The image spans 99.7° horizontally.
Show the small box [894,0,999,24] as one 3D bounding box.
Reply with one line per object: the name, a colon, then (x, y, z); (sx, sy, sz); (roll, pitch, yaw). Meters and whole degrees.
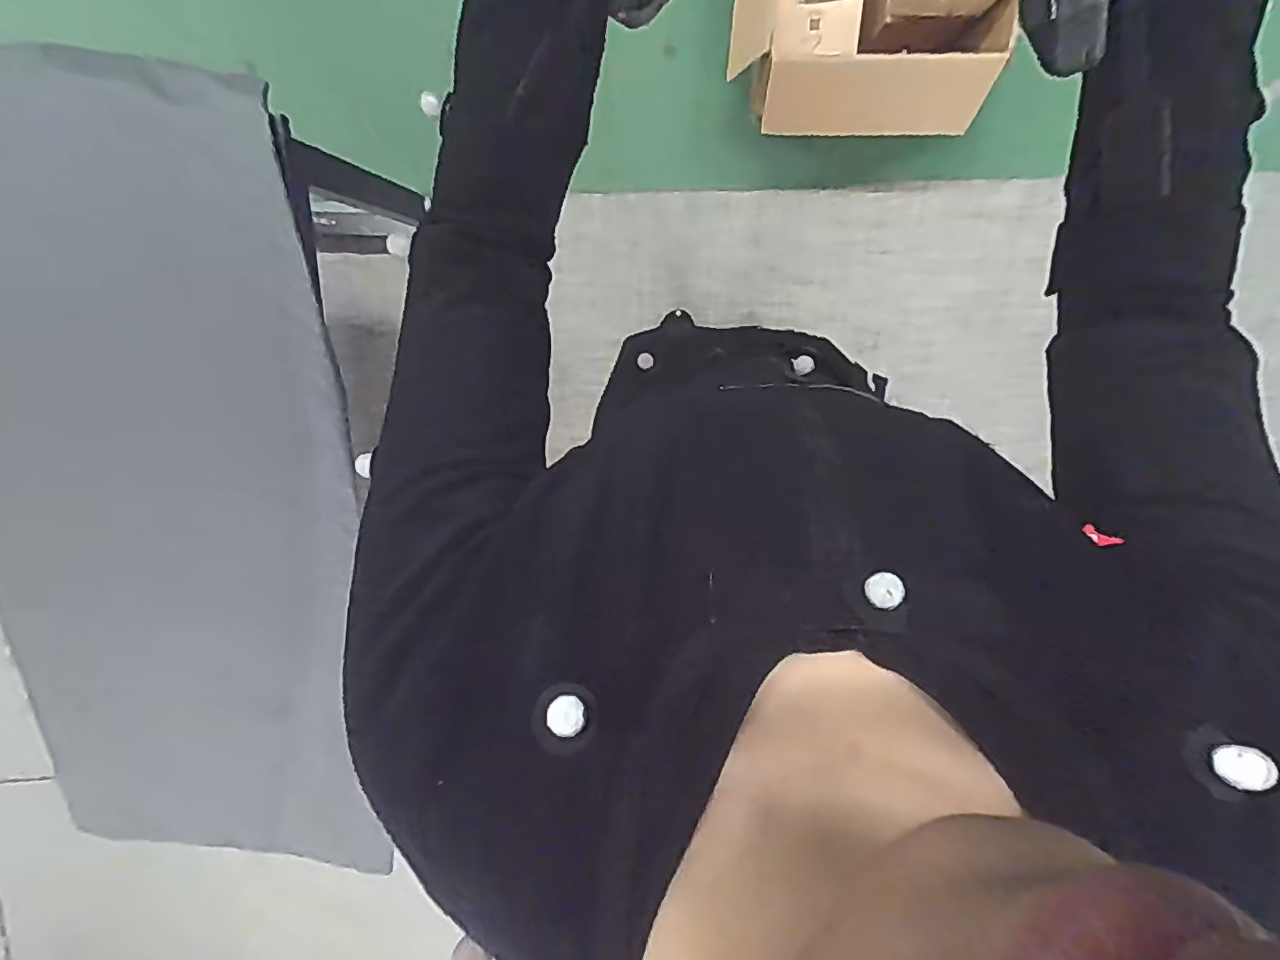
small box: (0.546, -0.903, 0.899); (0.168, 0.176, 0.179); (4, 107, 1)
